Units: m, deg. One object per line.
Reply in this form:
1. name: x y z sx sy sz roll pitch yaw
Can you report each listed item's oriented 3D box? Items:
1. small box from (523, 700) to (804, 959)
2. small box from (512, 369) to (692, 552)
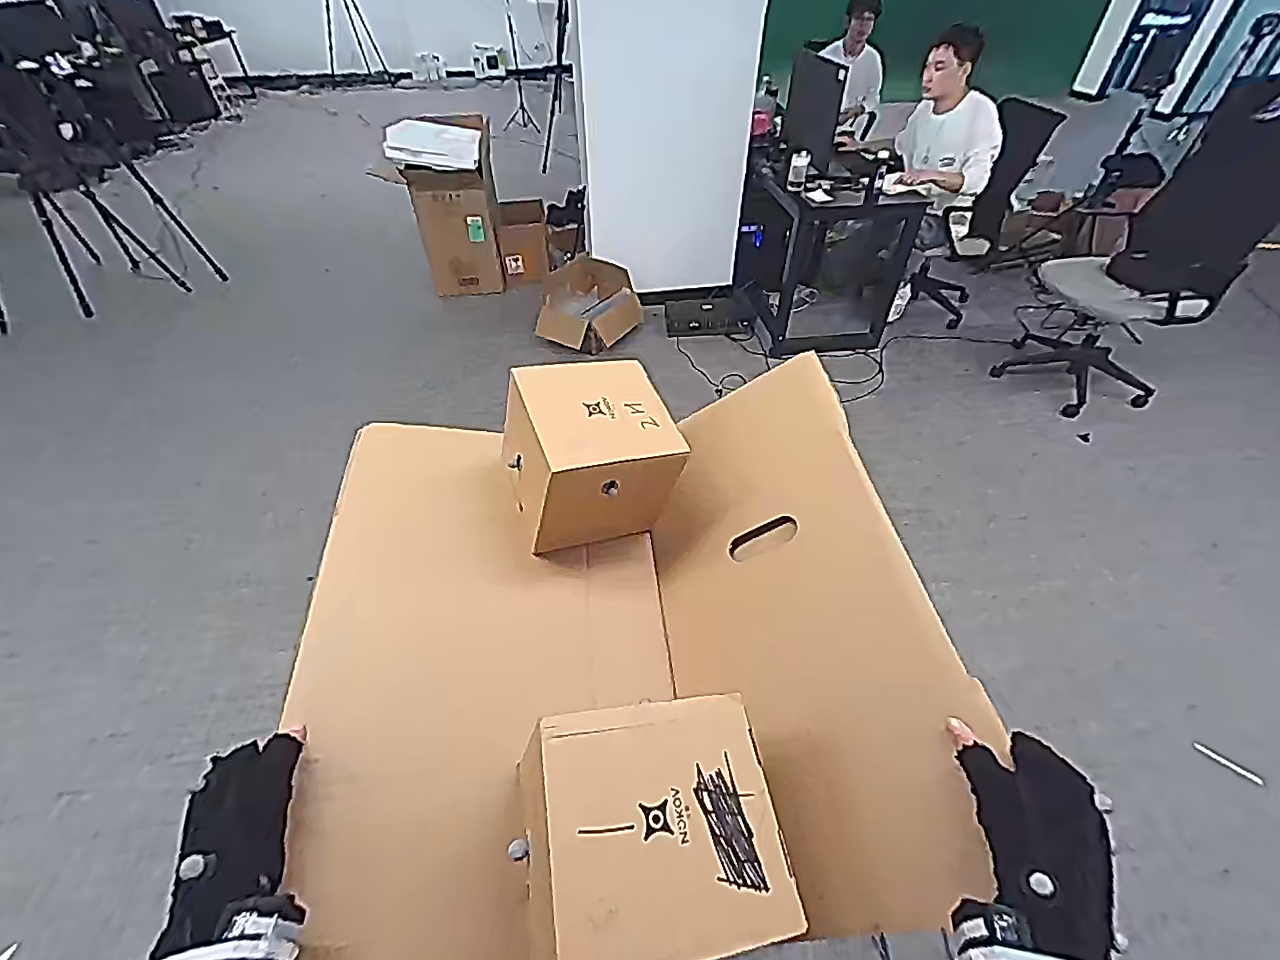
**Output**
1. small box: 0.001 0.301 0.457 0.179 0.176 0.168 1 52 -18
2. small box: -0.063 -0.024 0.703 0.179 0.176 0.168 -8 55 -26
